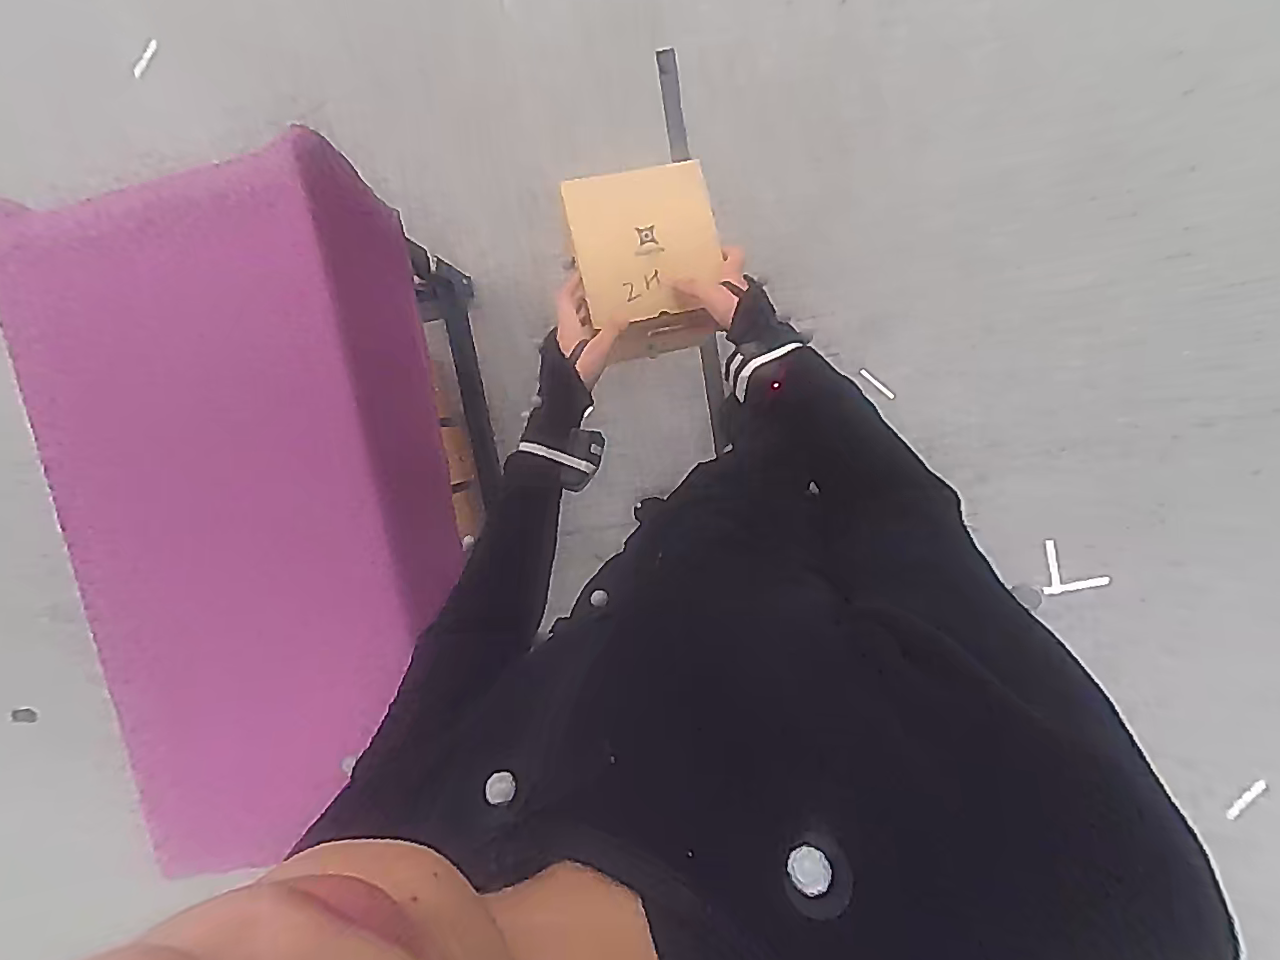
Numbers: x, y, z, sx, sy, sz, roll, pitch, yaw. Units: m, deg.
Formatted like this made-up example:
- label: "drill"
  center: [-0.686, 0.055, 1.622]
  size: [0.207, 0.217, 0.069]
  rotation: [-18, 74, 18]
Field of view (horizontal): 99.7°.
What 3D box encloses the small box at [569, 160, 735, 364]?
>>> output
- label: "small box"
  center: [0.006, -0.266, 0.694]
  size: [0.168, 0.176, 0.179]
  rotation: [-12, 89, -5]
